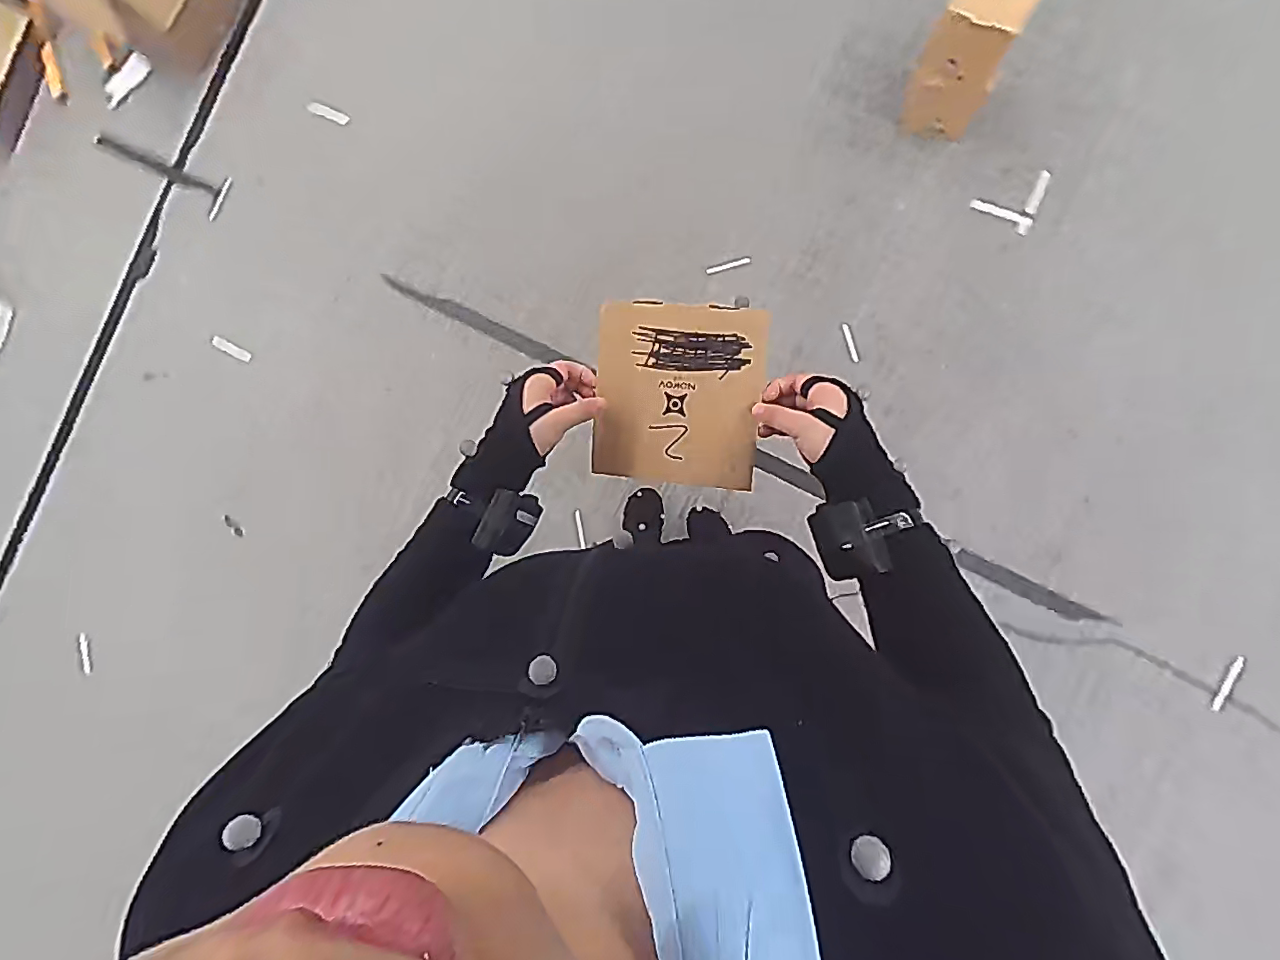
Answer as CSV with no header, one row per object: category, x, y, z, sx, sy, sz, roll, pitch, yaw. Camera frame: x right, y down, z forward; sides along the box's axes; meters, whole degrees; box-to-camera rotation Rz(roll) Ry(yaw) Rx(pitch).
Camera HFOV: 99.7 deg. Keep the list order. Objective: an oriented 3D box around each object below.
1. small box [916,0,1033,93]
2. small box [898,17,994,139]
small box,0.757,-1.033,1.217,0.168,0.176,0.179,26,91,8
small box,0.781,-1.017,1.378,0.168,0.176,0.179,14,89,8
